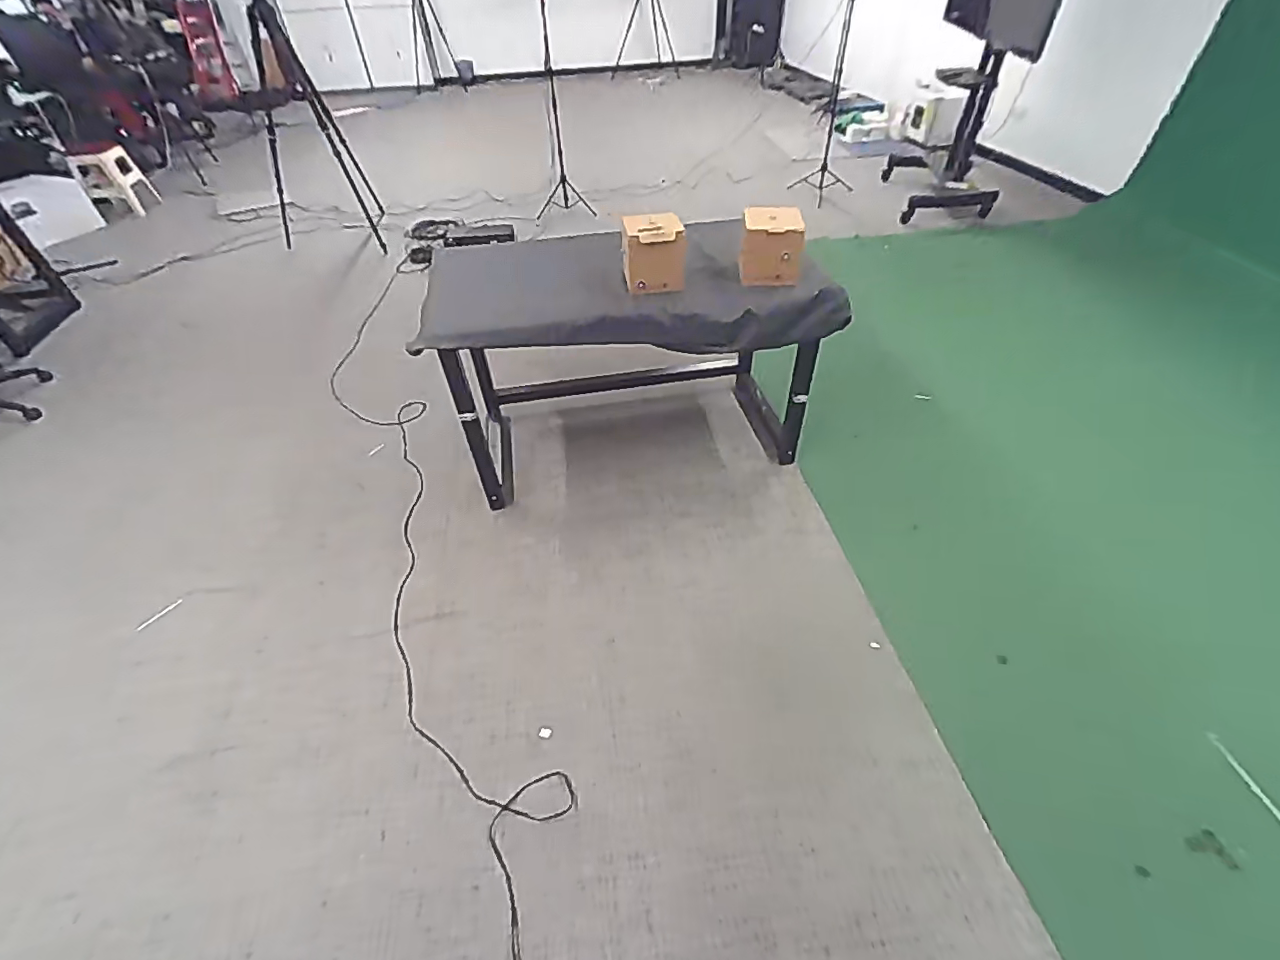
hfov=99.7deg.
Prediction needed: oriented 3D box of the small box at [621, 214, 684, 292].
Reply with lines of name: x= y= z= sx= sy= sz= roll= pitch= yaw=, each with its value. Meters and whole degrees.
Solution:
small box: x=0.038 y=-0.673 z=1.613 sx=0.168 sy=0.176 sz=0.179 roll=-7 pitch=44 yaw=-5

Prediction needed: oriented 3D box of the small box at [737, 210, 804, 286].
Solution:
small box: x=0.385 y=-0.694 z=1.621 sx=0.168 sy=0.176 sz=0.179 roll=2 pitch=43 yaw=3
